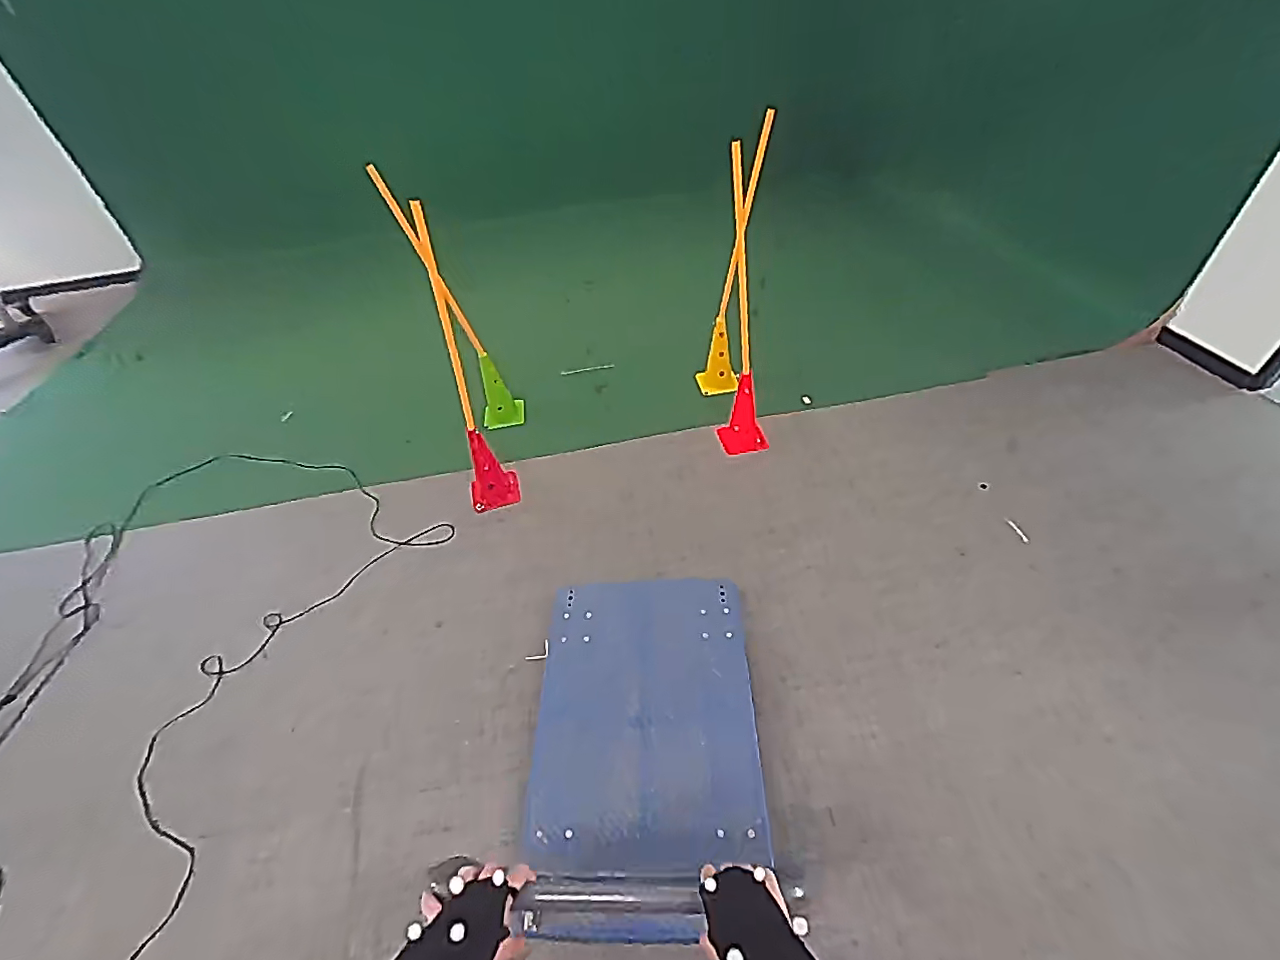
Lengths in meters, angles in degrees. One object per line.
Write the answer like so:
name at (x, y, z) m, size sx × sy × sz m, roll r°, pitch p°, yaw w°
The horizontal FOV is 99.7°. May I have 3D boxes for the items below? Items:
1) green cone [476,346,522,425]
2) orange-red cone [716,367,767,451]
green cone at (-0.706, -0.470, 2.588) m, size 0.200 × 0.368 × 0.202 m, roll -11°, pitch 44°, yaw -3°
orange-red cone at (0.443, -0.324, 2.316) m, size 0.198 × 0.360 × 0.199 m, roll -10°, pitch 43°, yaw -4°
